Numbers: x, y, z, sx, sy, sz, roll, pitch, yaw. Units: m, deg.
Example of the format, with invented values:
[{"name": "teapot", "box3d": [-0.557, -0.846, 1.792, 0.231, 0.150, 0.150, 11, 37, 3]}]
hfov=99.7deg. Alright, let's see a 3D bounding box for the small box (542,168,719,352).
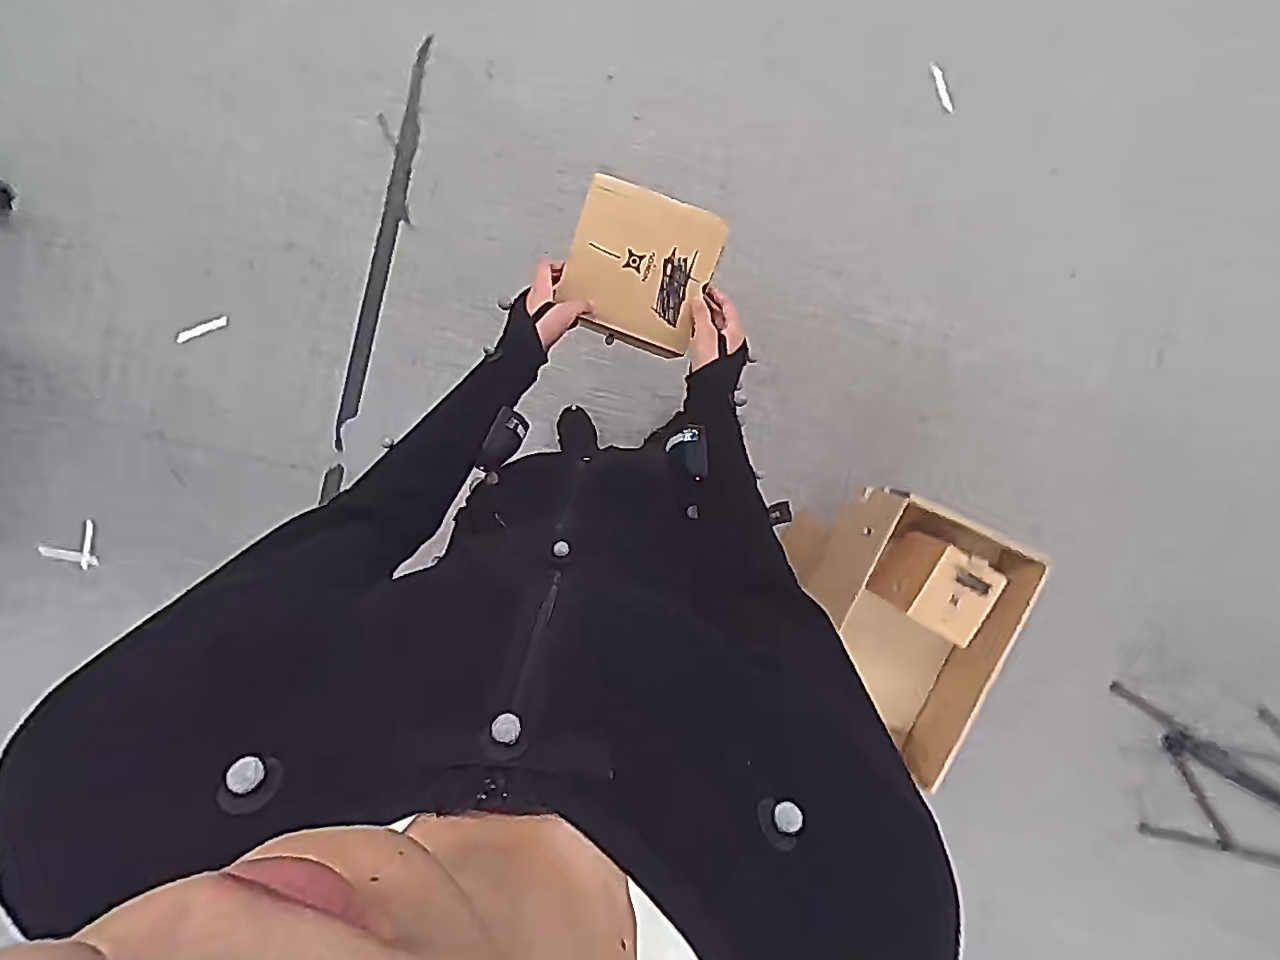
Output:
[{"name": "small box", "box3d": [-0.015, -0.280, 0.730, 0.179, 0.176, 0.168, 18, 100, -6]}]
